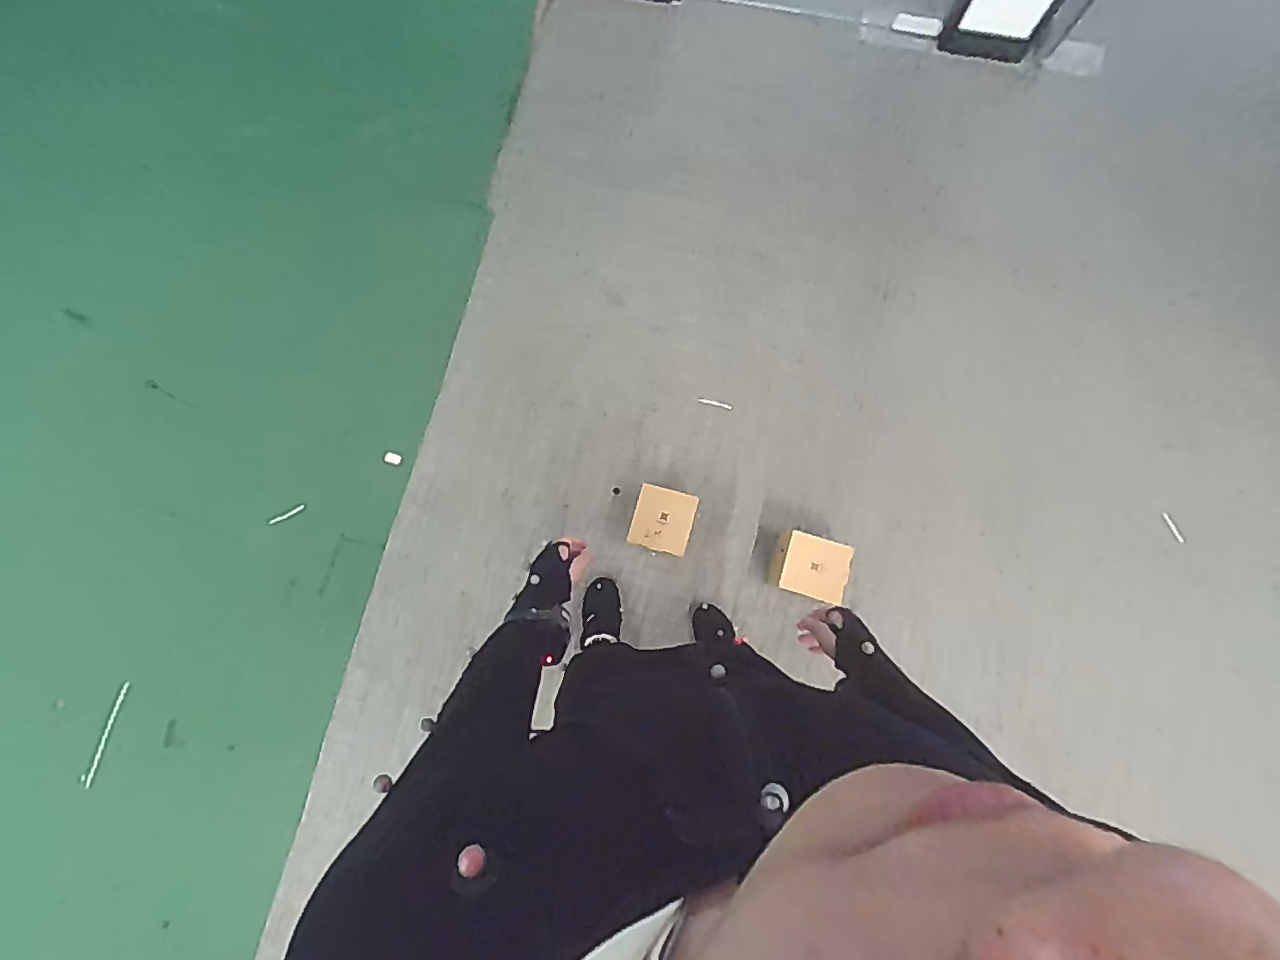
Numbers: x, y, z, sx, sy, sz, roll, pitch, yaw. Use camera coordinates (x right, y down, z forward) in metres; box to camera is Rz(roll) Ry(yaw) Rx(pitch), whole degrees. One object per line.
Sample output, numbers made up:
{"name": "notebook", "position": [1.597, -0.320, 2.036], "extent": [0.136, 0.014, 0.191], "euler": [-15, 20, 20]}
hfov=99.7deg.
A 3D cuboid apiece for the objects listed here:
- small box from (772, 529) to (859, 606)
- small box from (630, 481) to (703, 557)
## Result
{"name": "small box", "position": [0.488, 0.248, 1.529], "extent": [0.179, 0.176, 0.168], "euler": [17, 82, 4]}
{"name": "small box", "position": [0.074, 0.118, 1.563], "extent": [0.168, 0.176, 0.179], "euler": [16, 82, 5]}
